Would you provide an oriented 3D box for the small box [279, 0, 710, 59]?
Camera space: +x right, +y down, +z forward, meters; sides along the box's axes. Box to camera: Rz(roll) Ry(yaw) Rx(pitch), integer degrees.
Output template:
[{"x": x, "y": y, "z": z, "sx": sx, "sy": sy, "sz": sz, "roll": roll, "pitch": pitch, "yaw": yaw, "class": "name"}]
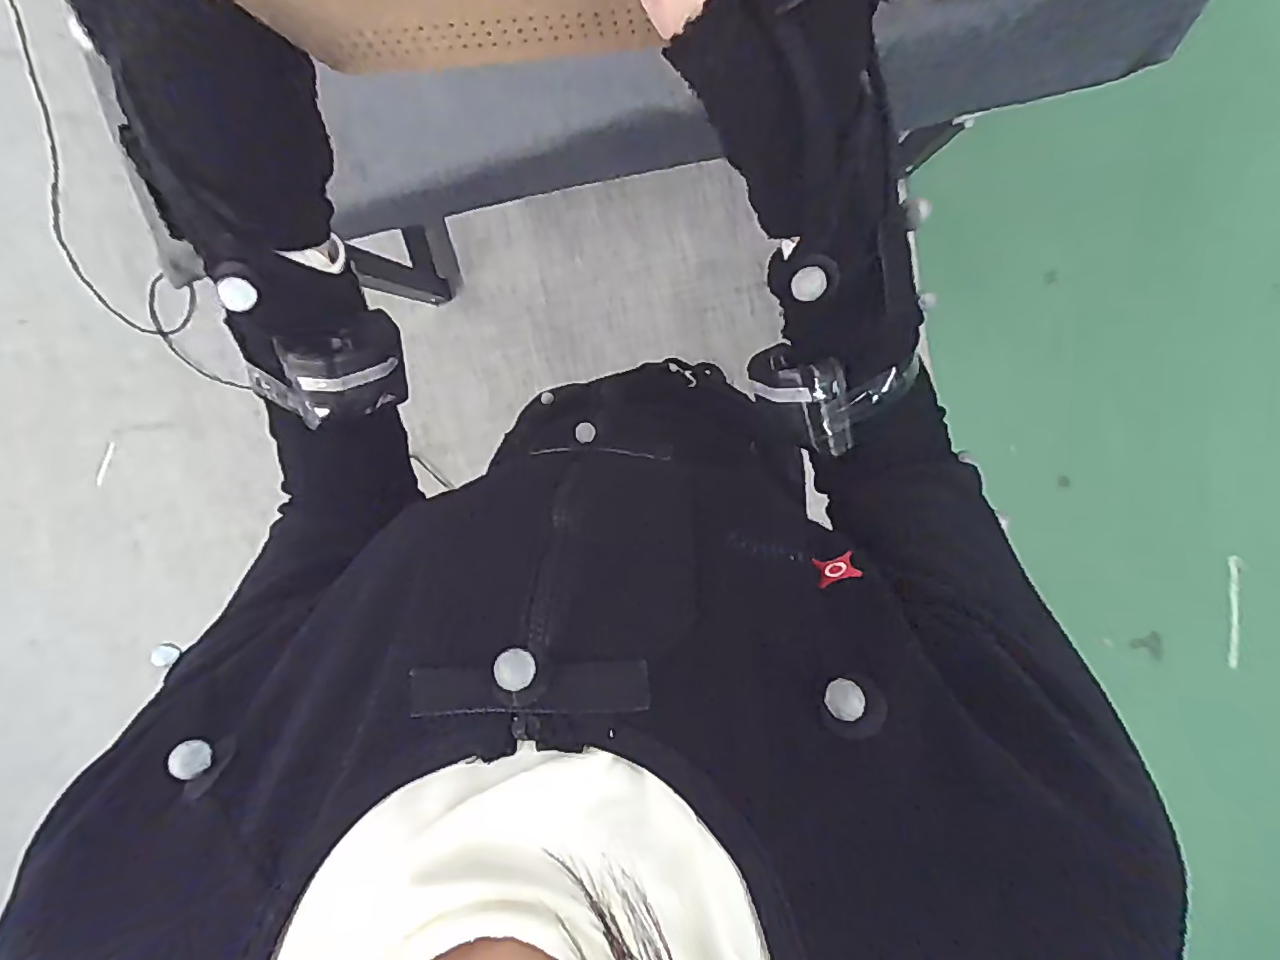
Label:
[{"x": -0.062, "y": -0.244, "z": 0.140, "sx": 0.179, "sy": 0.176, "sz": 0.168, "roll": 0, "pitch": 106, "yaw": 7, "class": "small box"}]
